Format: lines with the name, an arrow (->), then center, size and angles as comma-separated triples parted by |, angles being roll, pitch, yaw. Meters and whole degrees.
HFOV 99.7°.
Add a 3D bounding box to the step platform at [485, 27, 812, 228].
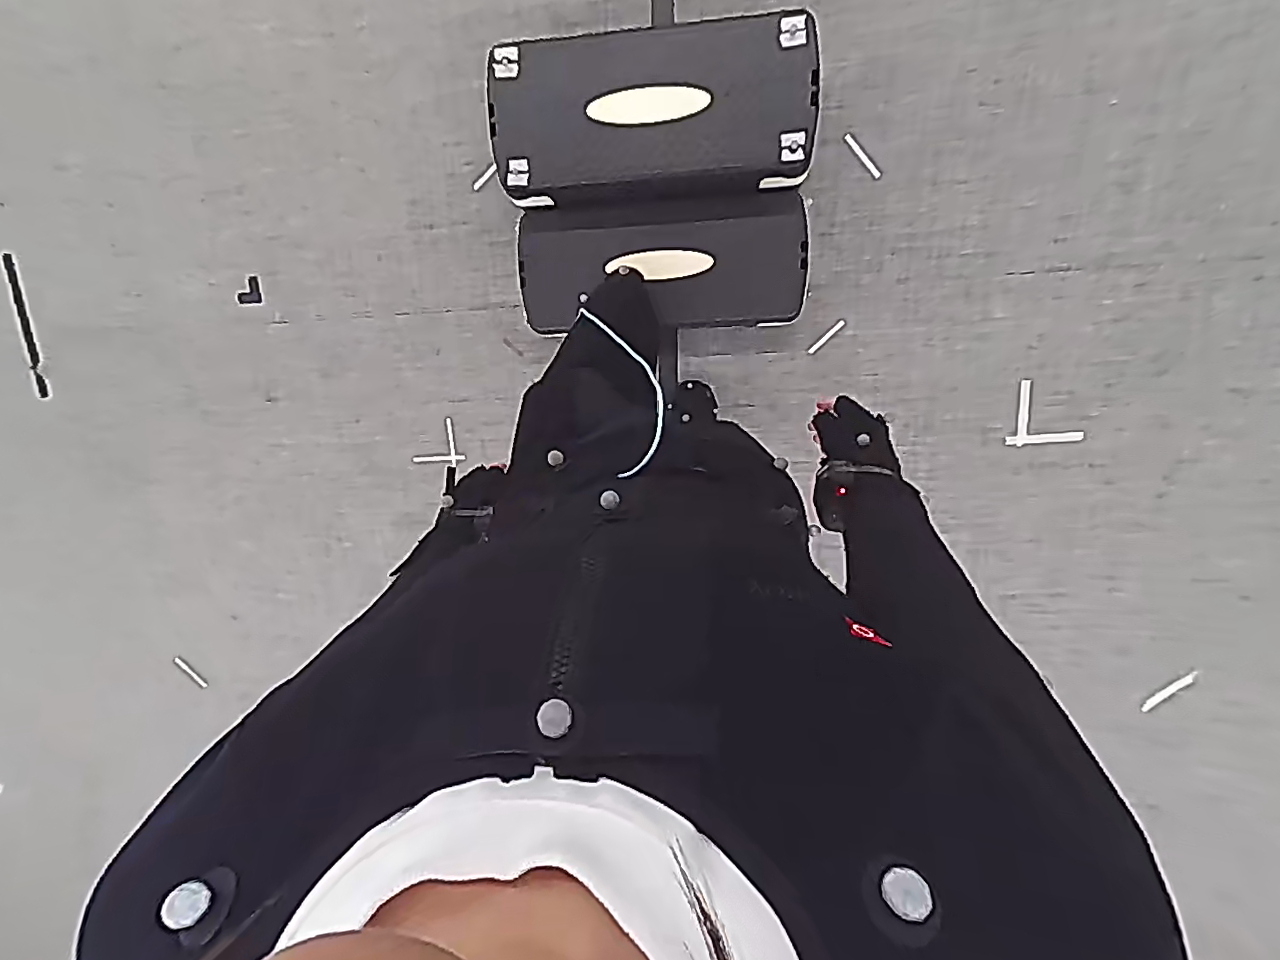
step platform -> 0.015, -0.742, 1.172 | 0.684, 0.204, 0.286 | -2, 105, 6
